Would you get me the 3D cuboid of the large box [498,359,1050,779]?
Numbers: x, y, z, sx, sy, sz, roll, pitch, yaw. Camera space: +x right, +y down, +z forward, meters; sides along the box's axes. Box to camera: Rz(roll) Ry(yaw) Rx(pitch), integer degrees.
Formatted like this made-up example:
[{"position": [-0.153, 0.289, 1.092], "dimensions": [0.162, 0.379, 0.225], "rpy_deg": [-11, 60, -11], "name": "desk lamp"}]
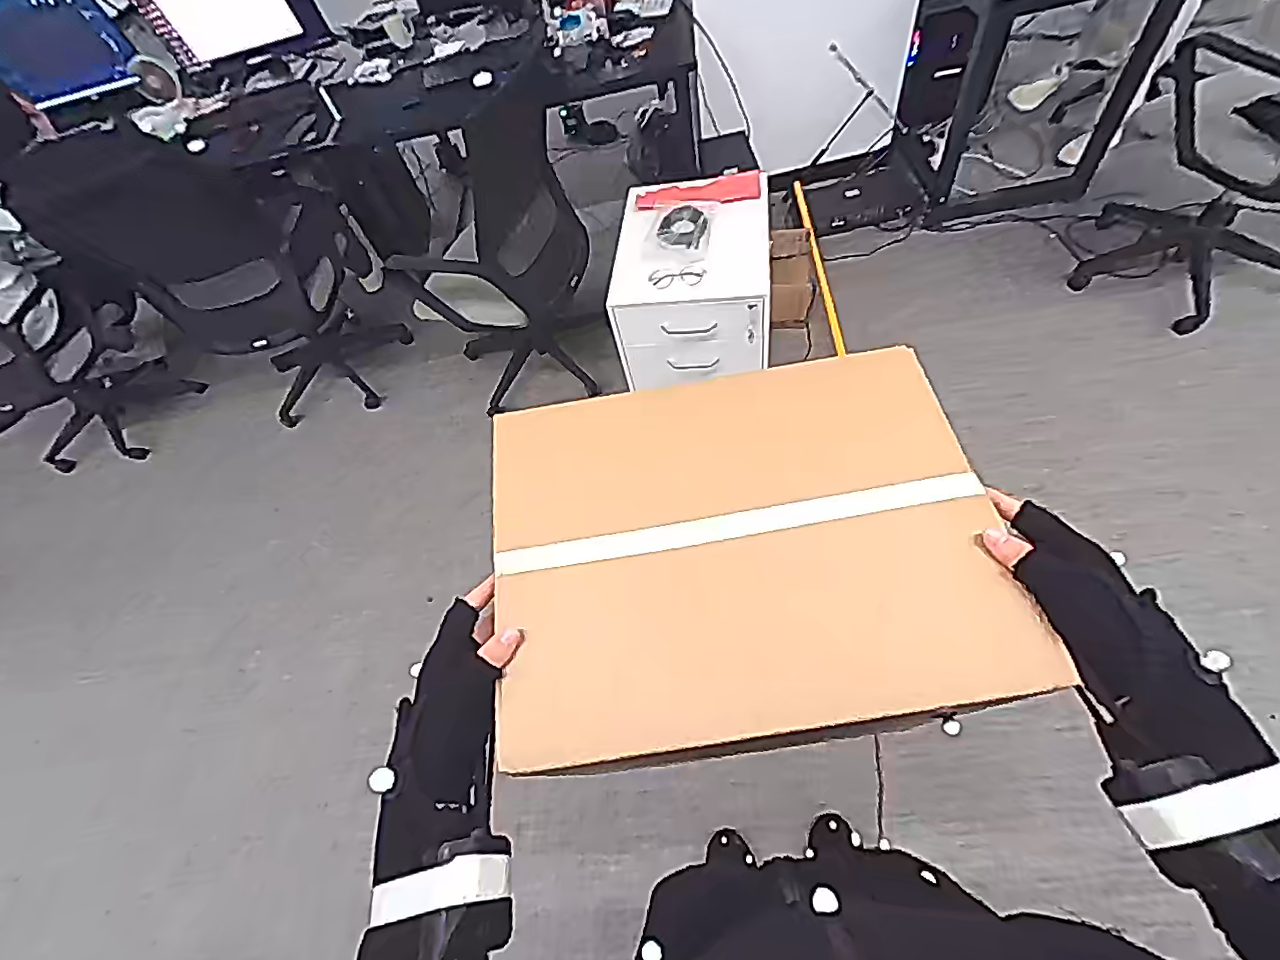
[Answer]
[{"position": [0.093, 0.116, 0.587], "dimensions": [0.408, 0.320, 0.320], "rpy_deg": [-10, 60, 1], "name": "large box"}]
